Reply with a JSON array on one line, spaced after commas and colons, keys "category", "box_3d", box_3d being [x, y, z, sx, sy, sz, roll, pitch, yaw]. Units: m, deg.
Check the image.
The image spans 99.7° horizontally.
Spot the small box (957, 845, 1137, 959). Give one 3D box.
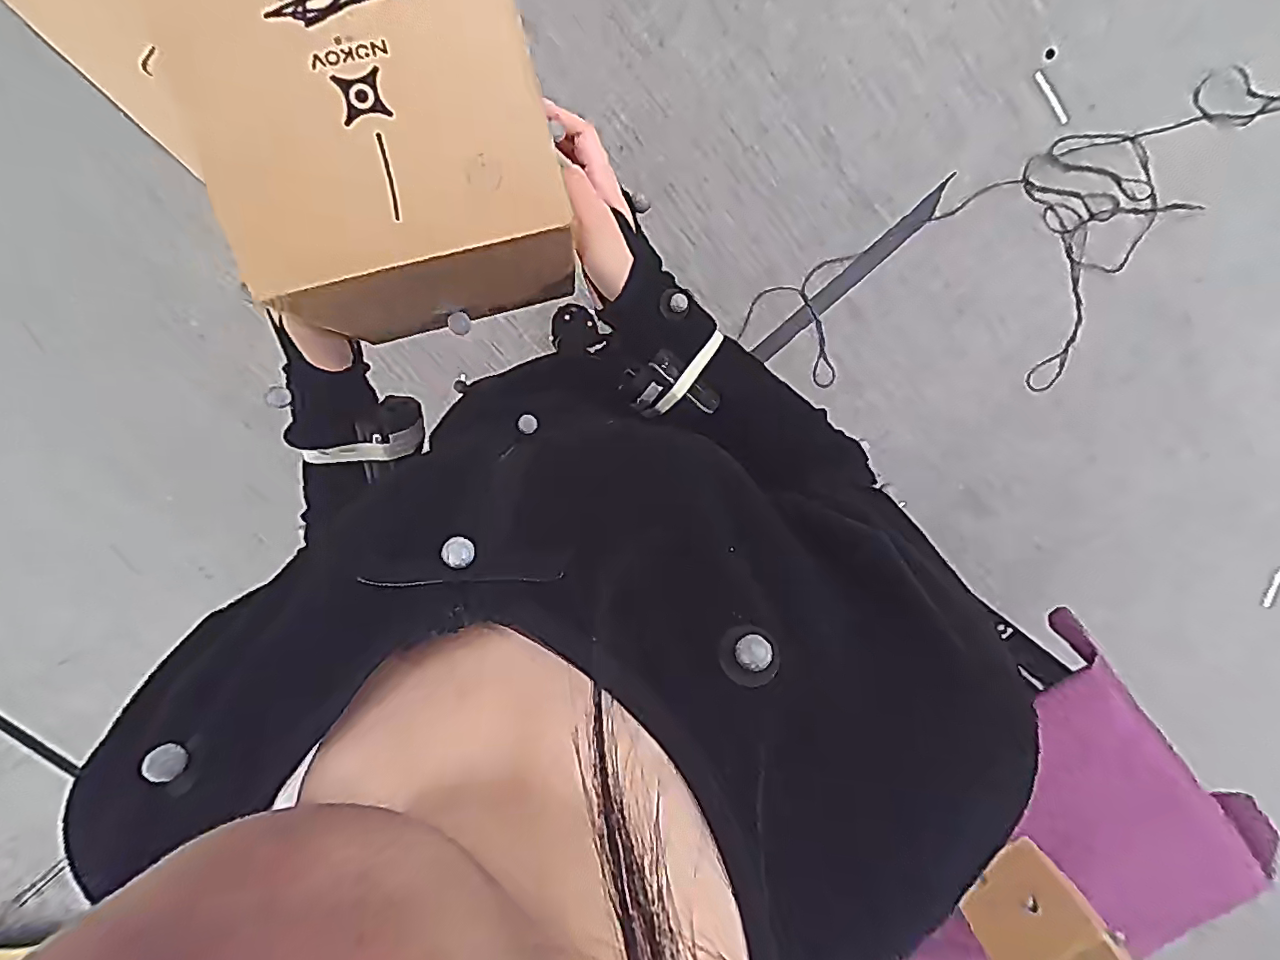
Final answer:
[{"category": "small box", "box_3d": [0.673, 0.749, 0.890, 0.168, 0.176, 0.179, -43, 103, 9]}]

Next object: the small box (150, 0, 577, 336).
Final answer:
[{"category": "small box", "box_3d": [-0.142, -0.204, 0.336, 0.168, 0.176, 0.179, -16, 99, -5]}]

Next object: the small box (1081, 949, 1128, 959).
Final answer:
[{"category": "small box", "box_3d": [0.681, 0.799, 0.734, 0.179, 0.176, 0.168, 43, 100, -13]}]
